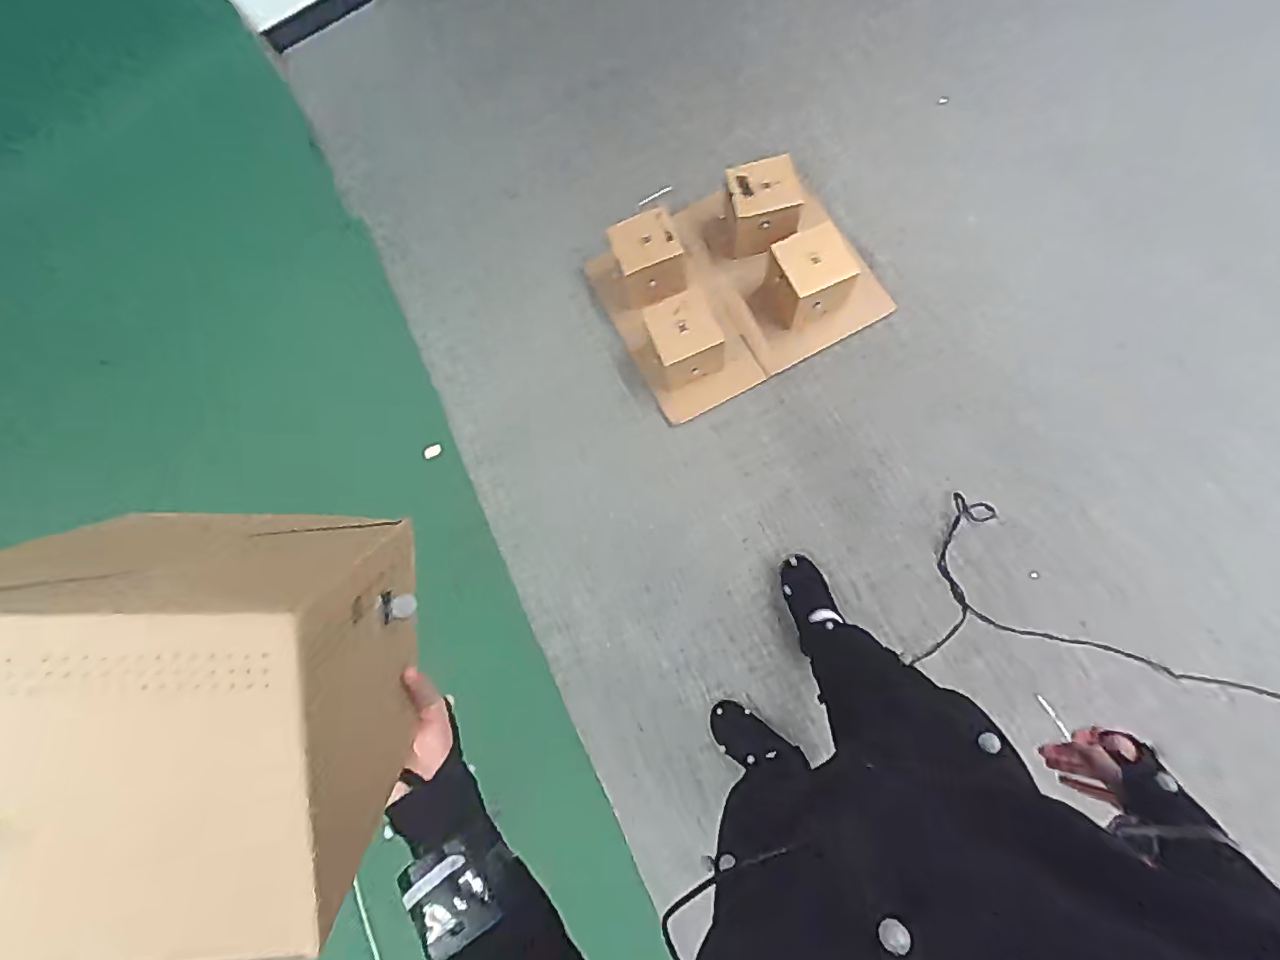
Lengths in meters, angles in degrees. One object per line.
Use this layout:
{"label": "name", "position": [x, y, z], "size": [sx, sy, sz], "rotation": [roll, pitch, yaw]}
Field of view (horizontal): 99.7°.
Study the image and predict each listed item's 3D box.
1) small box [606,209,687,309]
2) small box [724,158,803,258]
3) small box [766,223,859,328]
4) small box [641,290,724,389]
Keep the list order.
{"label": "small box", "position": [0.024, -0.613, 1.523], "size": [0.179, 0.176, 0.168], "rotation": [-21, 74, 2]}
{"label": "small box", "position": [0.337, -0.751, 1.509], "size": [0.179, 0.176, 0.168], "rotation": [-12, 75, 3]}
{"label": "small box", "position": [0.450, -0.531, 1.438], "size": [0.168, 0.176, 0.179], "rotation": [-24, 73, 1]}
{"label": "small box", "position": [0.119, -0.364, 1.444], "size": [0.168, 0.176, 0.179], "rotation": [-23, 73, 1]}
